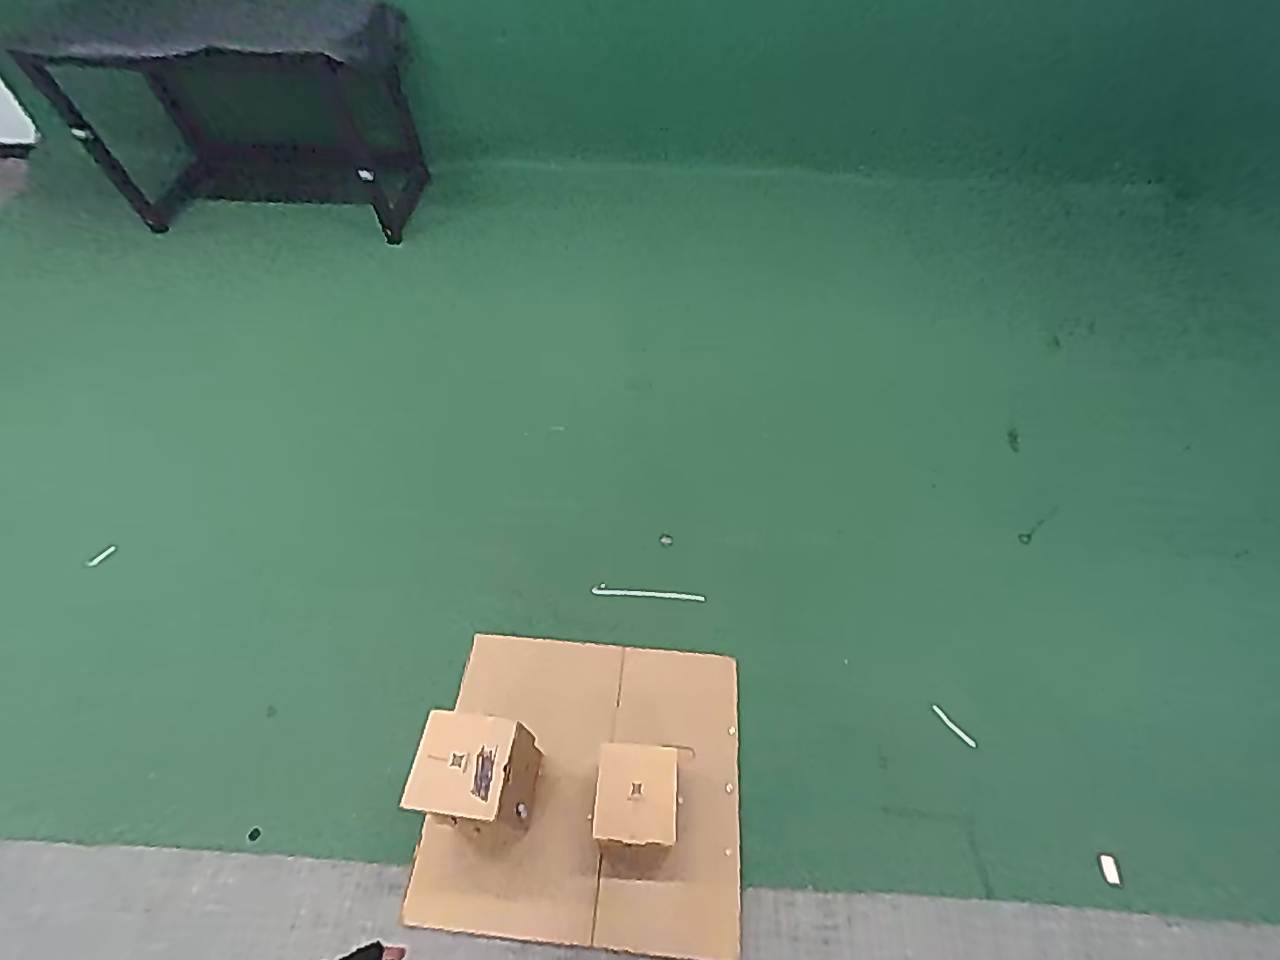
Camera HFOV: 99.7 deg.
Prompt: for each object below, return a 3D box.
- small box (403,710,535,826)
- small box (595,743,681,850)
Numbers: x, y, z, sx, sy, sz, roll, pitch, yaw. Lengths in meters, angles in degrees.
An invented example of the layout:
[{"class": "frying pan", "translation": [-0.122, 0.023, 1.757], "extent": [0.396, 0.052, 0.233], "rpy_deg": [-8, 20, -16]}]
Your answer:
[{"class": "small box", "translation": [-0.314, 0.557, 1.039], "extent": [0.179, 0.176, 0.168], "rpy_deg": [5, 55, 7]}, {"class": "small box", "translation": [-0.002, 0.679, 1.156], "extent": [0.168, 0.176, 0.179], "rpy_deg": [3, 55, 2]}]
